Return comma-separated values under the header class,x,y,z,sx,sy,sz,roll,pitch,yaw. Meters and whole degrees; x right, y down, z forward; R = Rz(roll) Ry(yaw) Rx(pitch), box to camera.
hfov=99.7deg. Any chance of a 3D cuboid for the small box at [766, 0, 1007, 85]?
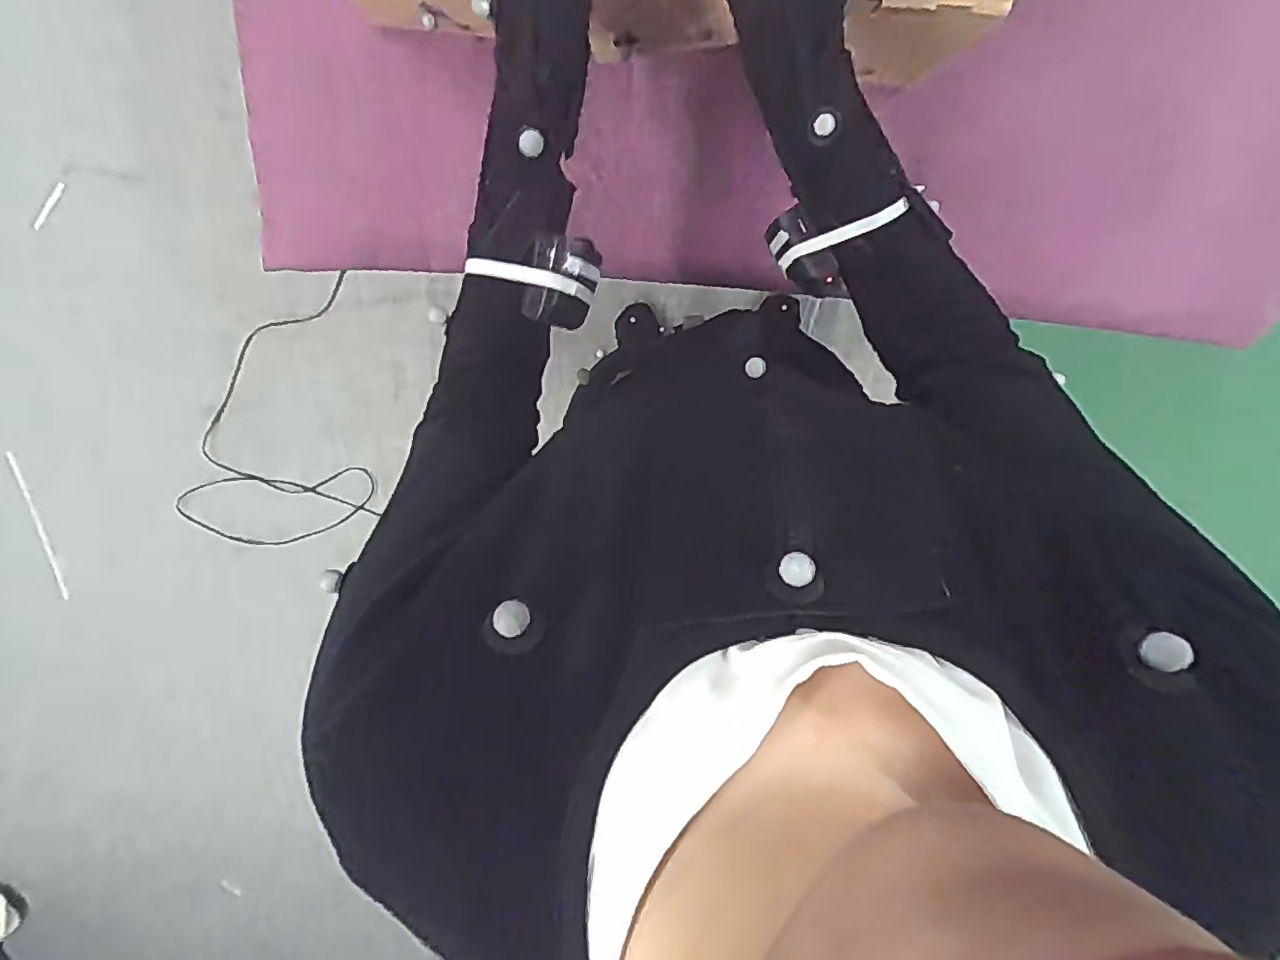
class,x,y,z,sx,sy,sz,roll,pitch,yaw
small box,0.219,-0.489,0.480,0.168,0.176,0.179,4,111,-2
